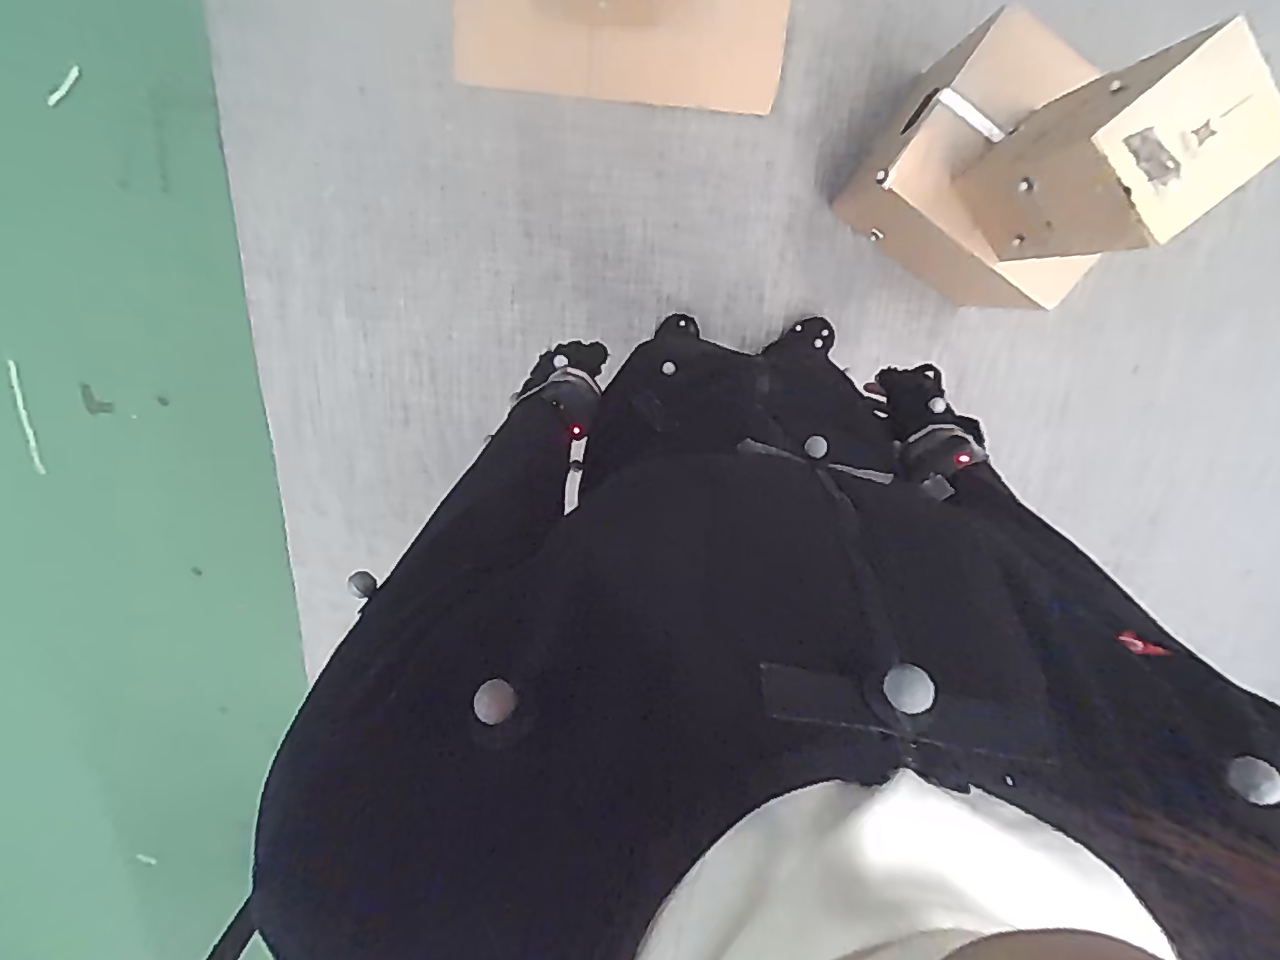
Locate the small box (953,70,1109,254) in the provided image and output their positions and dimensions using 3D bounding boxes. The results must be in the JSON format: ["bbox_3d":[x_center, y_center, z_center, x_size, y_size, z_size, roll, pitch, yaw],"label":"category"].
[{"bbox_3d":[0.646,-0.480,0.854,0.168,0.176,0.179,-40,101,13],"label":"small box"}]

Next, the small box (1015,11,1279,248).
[{"bbox_3d":[0.634,-0.426,0.699,0.179,0.176,0.168,-43,102,15],"label":"small box"}]
